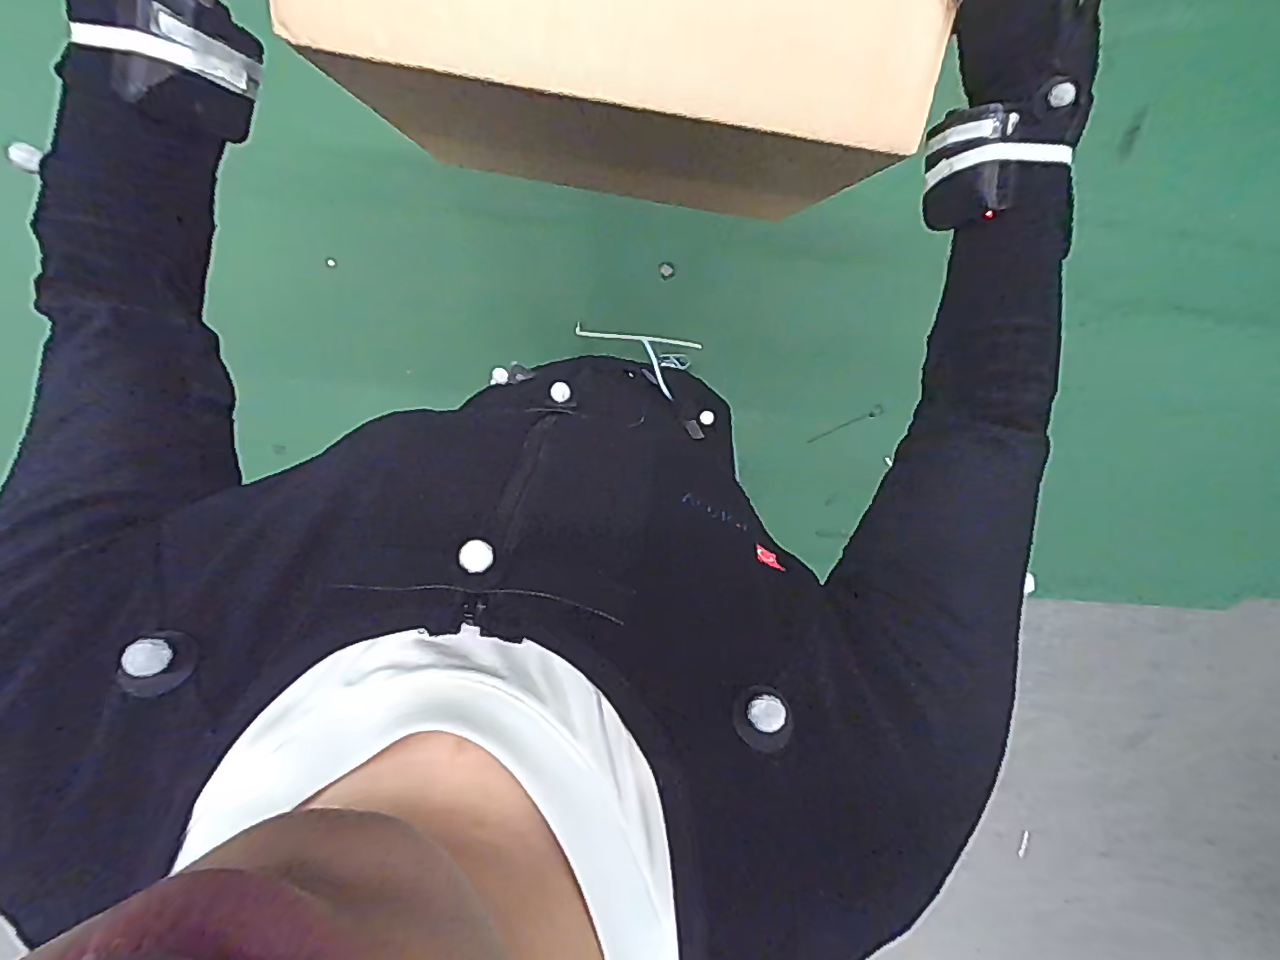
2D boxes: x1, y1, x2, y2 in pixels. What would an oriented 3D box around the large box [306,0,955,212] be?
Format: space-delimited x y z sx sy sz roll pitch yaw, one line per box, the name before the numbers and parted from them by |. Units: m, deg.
large box | 0.003 -0.438 0.442 0.408 0.320 0.320 7 108 -6
